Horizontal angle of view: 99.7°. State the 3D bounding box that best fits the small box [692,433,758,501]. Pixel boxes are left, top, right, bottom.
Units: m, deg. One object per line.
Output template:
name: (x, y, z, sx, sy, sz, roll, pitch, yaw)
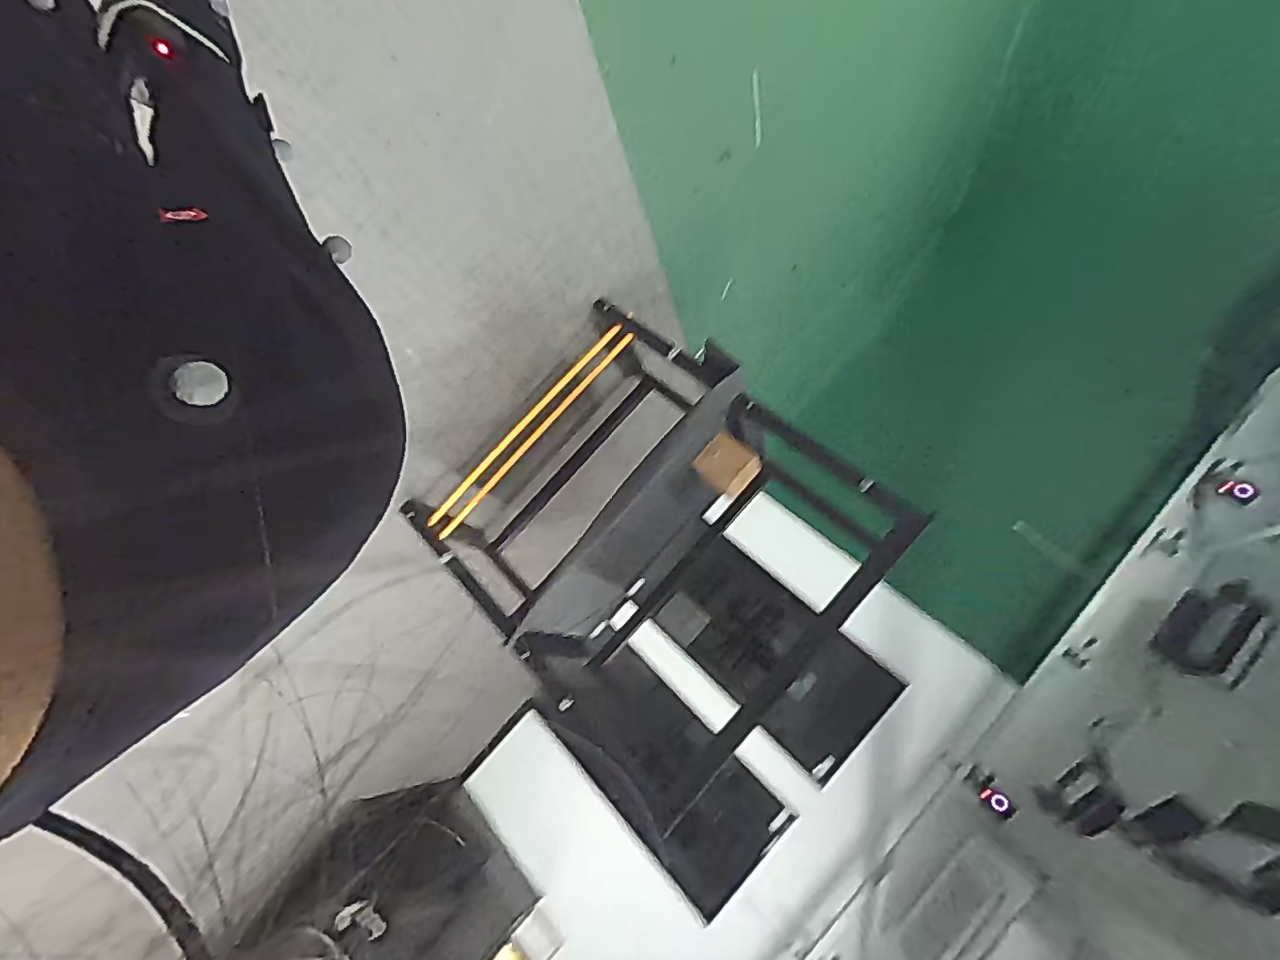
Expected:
small box: (0.318, -0.051, 2.017, 0.168, 0.176, 0.179, -48, 156, -3)
